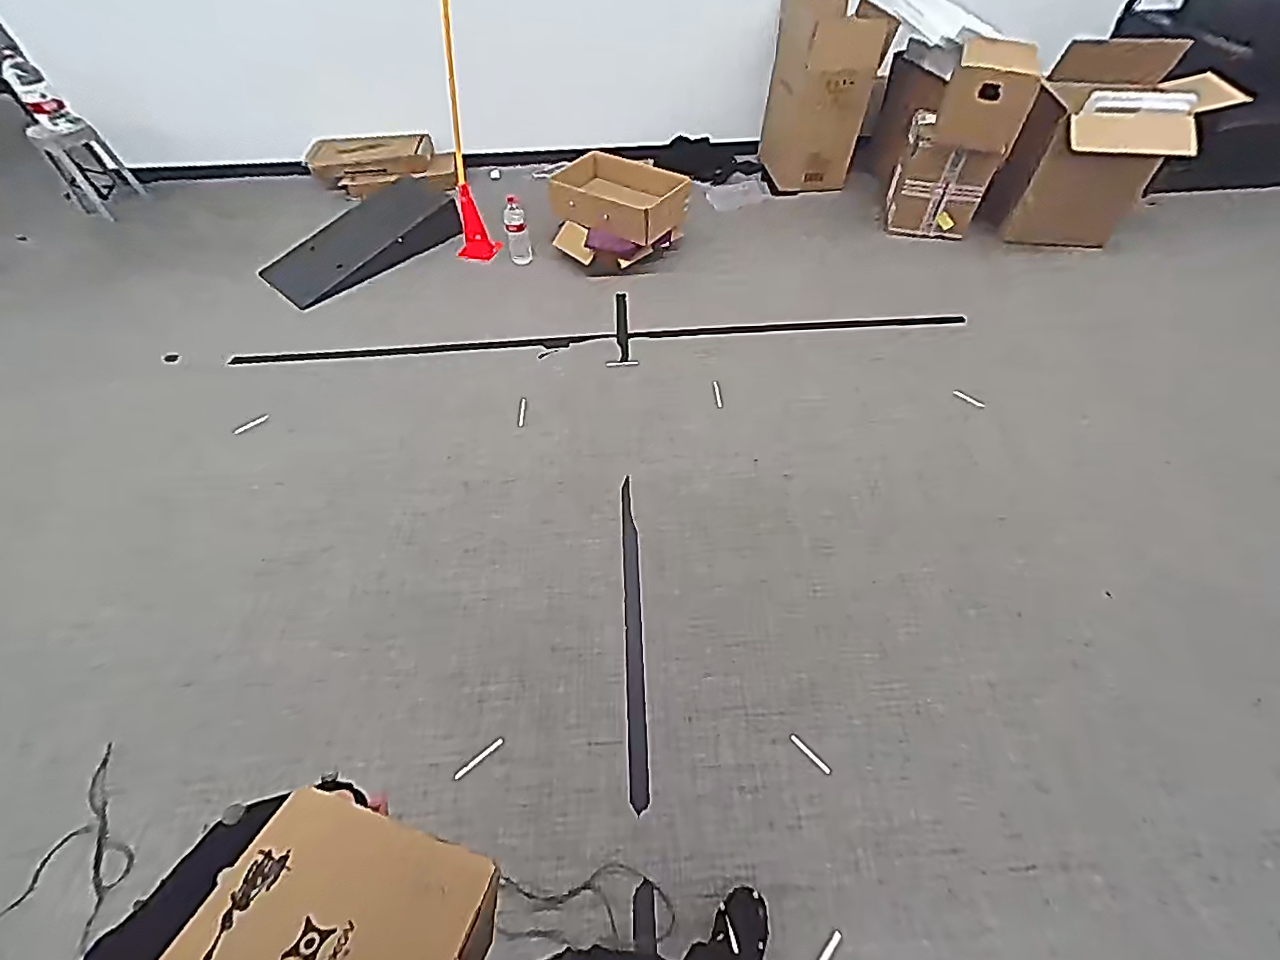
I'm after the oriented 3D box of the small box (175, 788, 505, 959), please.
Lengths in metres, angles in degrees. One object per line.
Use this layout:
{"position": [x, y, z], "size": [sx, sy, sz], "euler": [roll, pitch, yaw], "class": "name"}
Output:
{"position": [-0.221, 0.378, 0.405], "size": [0.179, 0.176, 0.168], "euler": [18, 34, 6], "class": "small box"}
